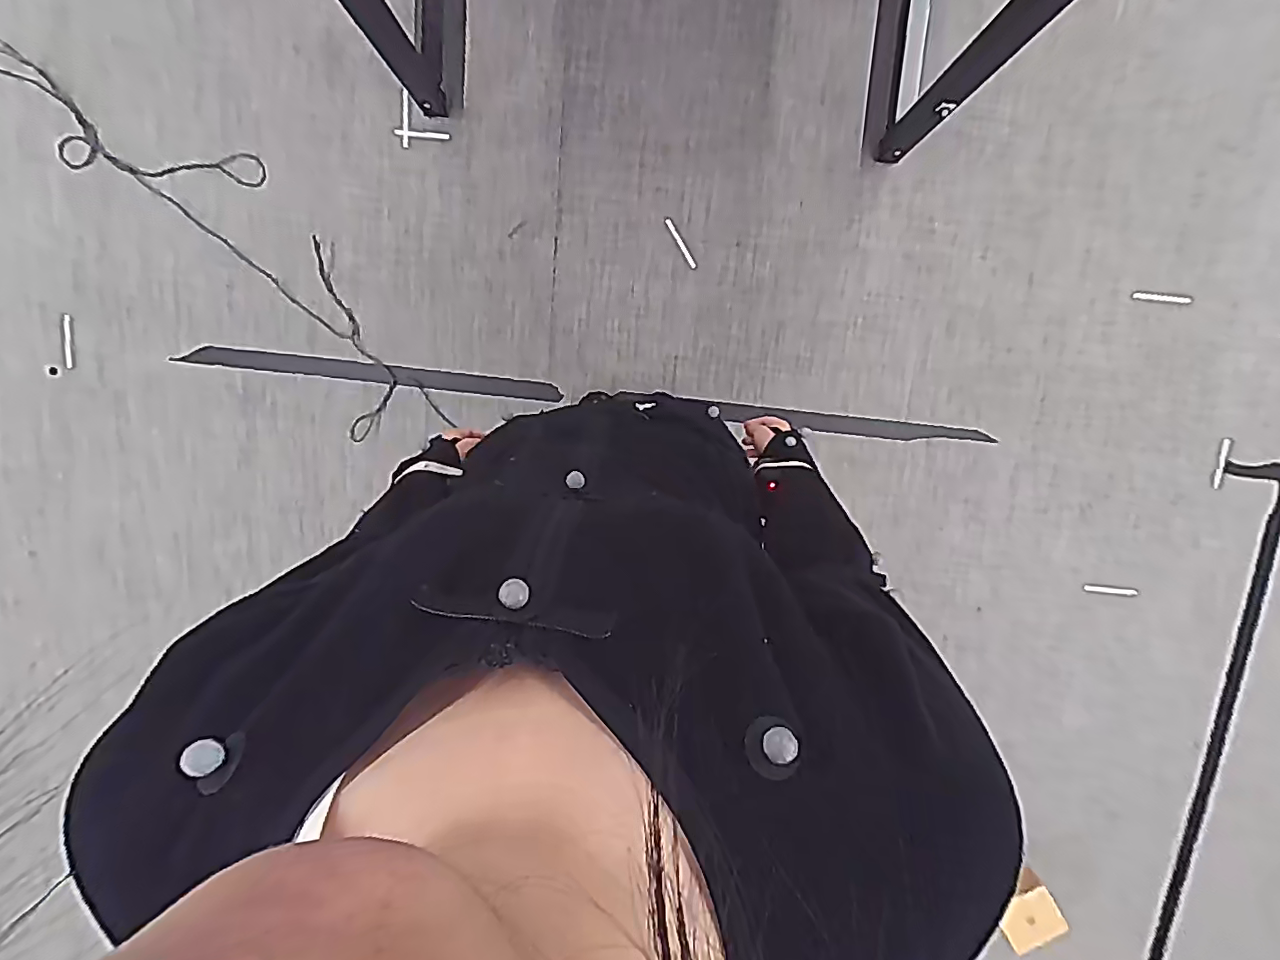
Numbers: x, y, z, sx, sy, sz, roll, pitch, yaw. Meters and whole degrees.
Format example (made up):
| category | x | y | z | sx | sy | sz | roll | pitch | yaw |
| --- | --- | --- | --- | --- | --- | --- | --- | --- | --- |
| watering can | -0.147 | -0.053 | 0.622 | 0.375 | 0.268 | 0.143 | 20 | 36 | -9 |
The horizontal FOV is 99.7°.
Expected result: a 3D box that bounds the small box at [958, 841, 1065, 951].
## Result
| category | x | y | z | sx | sy | sz | roll | pitch | yaw |
| --- | --- | --- | --- | --- | --- | --- | --- | --- | --- |
| small box | 1.093 | 1.220 | 1.605 | 0.168 | 0.176 | 0.179 | -32 | 99 | 5 |
